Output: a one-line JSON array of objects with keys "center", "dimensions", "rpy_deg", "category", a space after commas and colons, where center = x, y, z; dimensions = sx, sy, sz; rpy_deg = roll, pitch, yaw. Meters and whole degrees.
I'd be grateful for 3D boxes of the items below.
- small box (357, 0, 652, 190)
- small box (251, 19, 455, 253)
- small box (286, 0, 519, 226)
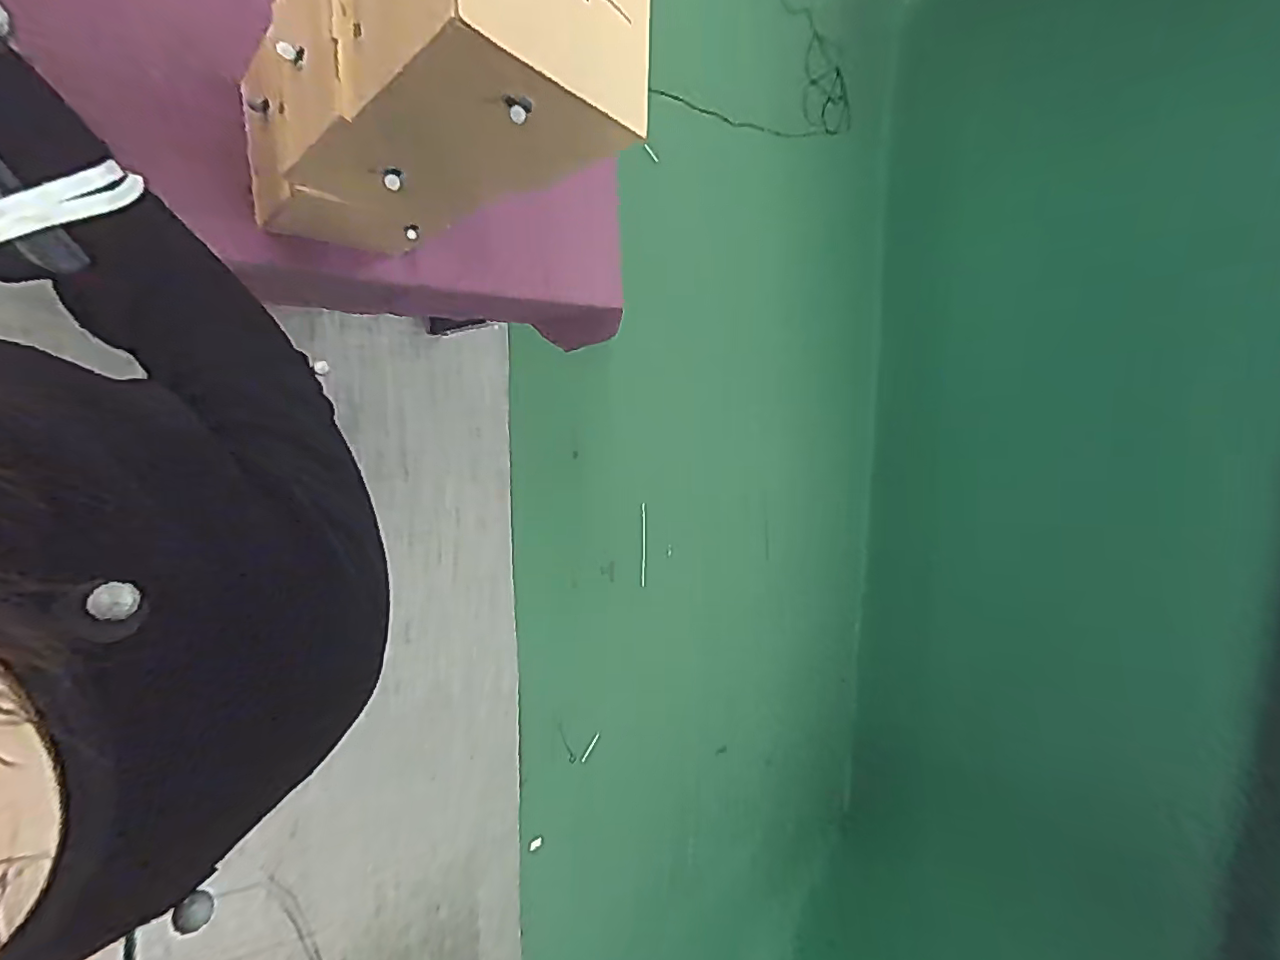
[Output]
[{"center": [-0.109, -0.360, 0.432], "dimensions": [0.179, 0.176, 0.168], "rpy_deg": [-4, 98, -48], "category": "small box"}, {"center": [-0.349, -0.388, 0.655], "dimensions": [0.179, 0.176, 0.168], "rpy_deg": [-10, 102, -46], "category": "small box"}, {"center": [-0.235, -0.374, 0.537], "dimensions": [0.179, 0.176, 0.168], "rpy_deg": [-4, 98, -46], "category": "small box"}]
